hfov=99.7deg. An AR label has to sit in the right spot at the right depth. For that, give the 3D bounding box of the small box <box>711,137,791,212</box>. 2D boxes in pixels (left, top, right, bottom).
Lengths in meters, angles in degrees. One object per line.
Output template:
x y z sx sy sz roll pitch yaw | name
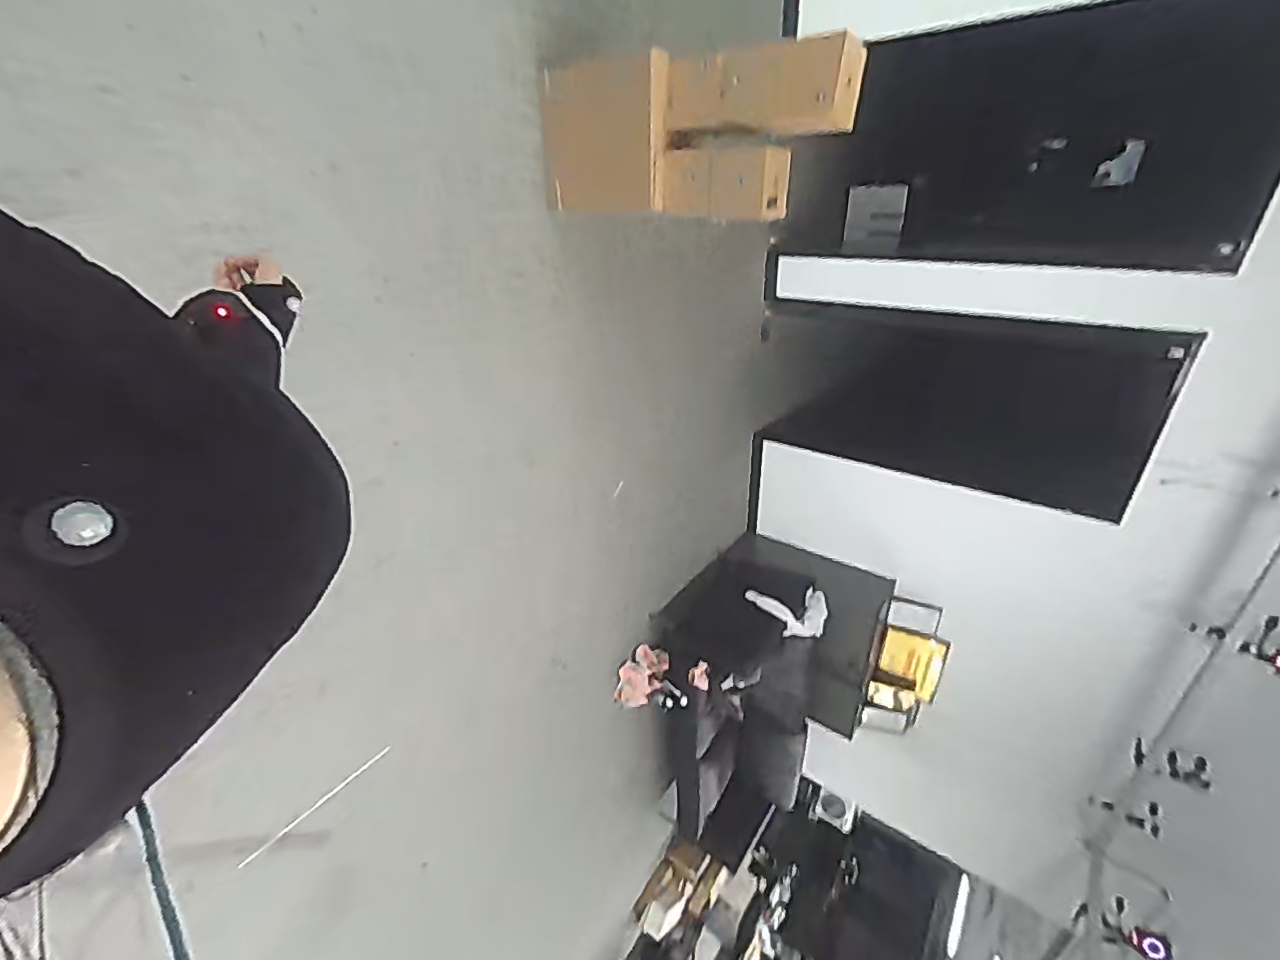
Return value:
0.314 -0.871 1.553 0.168 0.176 0.179 -32 129 -44 | small box

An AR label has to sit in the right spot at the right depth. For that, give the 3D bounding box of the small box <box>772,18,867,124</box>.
0.452 -1.029 1.375 0.168 0.176 0.179 -25 127 -48 | small box
